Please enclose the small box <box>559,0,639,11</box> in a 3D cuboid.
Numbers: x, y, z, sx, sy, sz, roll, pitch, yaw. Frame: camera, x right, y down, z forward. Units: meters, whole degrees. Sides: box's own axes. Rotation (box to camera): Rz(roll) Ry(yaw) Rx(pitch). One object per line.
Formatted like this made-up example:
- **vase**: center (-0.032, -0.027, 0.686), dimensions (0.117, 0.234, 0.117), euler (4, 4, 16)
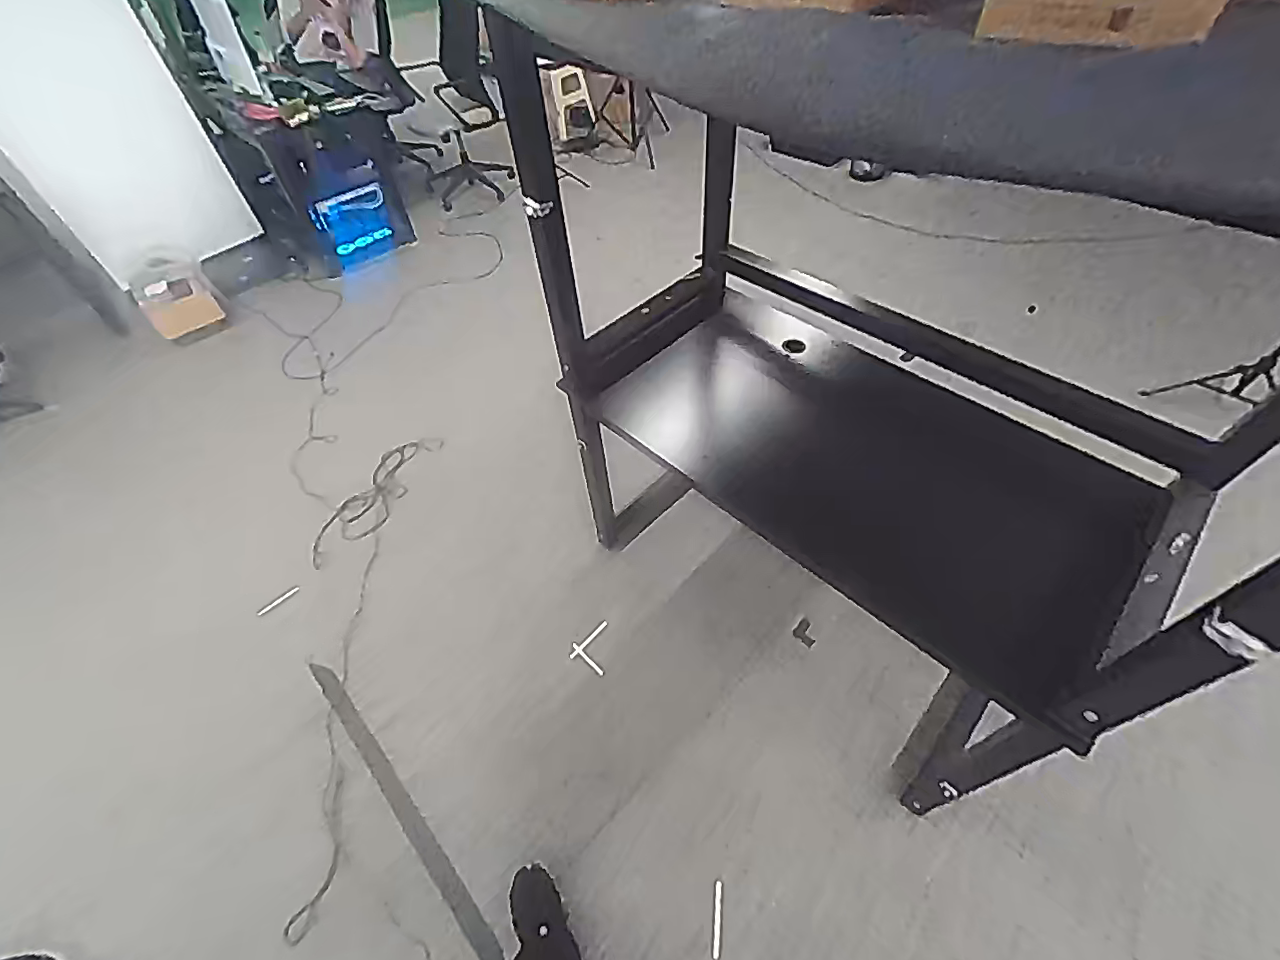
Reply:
- **small box**: center (-0.040, -0.726, 0.681), dimensions (0.168, 0.176, 0.179), euler (33, 60, 27)
